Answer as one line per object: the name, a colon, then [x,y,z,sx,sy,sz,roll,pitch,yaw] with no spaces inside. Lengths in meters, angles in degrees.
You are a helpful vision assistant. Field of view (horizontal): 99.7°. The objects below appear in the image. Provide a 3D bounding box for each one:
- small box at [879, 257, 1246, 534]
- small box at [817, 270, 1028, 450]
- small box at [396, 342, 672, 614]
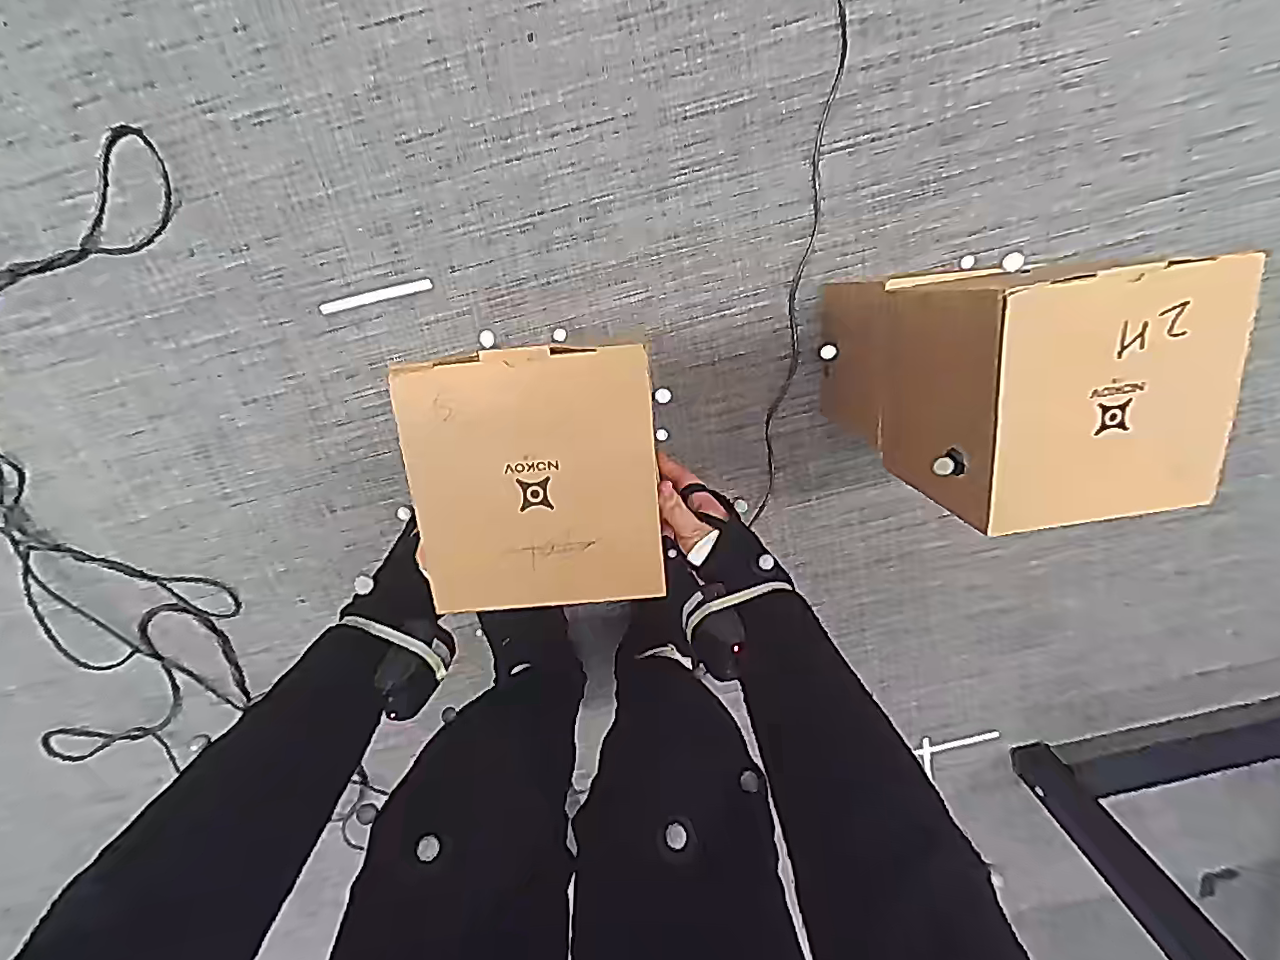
small box: [0.316,-0.077,0.449,0.168,0.176,0.179,-9,108,0]
small box: [0.314,-0.140,0.602,0.179,0.176,0.168,-6,108,0]
small box: [-0.066,-0.016,0.437,0.168,0.176,0.179,-5,107,2]
